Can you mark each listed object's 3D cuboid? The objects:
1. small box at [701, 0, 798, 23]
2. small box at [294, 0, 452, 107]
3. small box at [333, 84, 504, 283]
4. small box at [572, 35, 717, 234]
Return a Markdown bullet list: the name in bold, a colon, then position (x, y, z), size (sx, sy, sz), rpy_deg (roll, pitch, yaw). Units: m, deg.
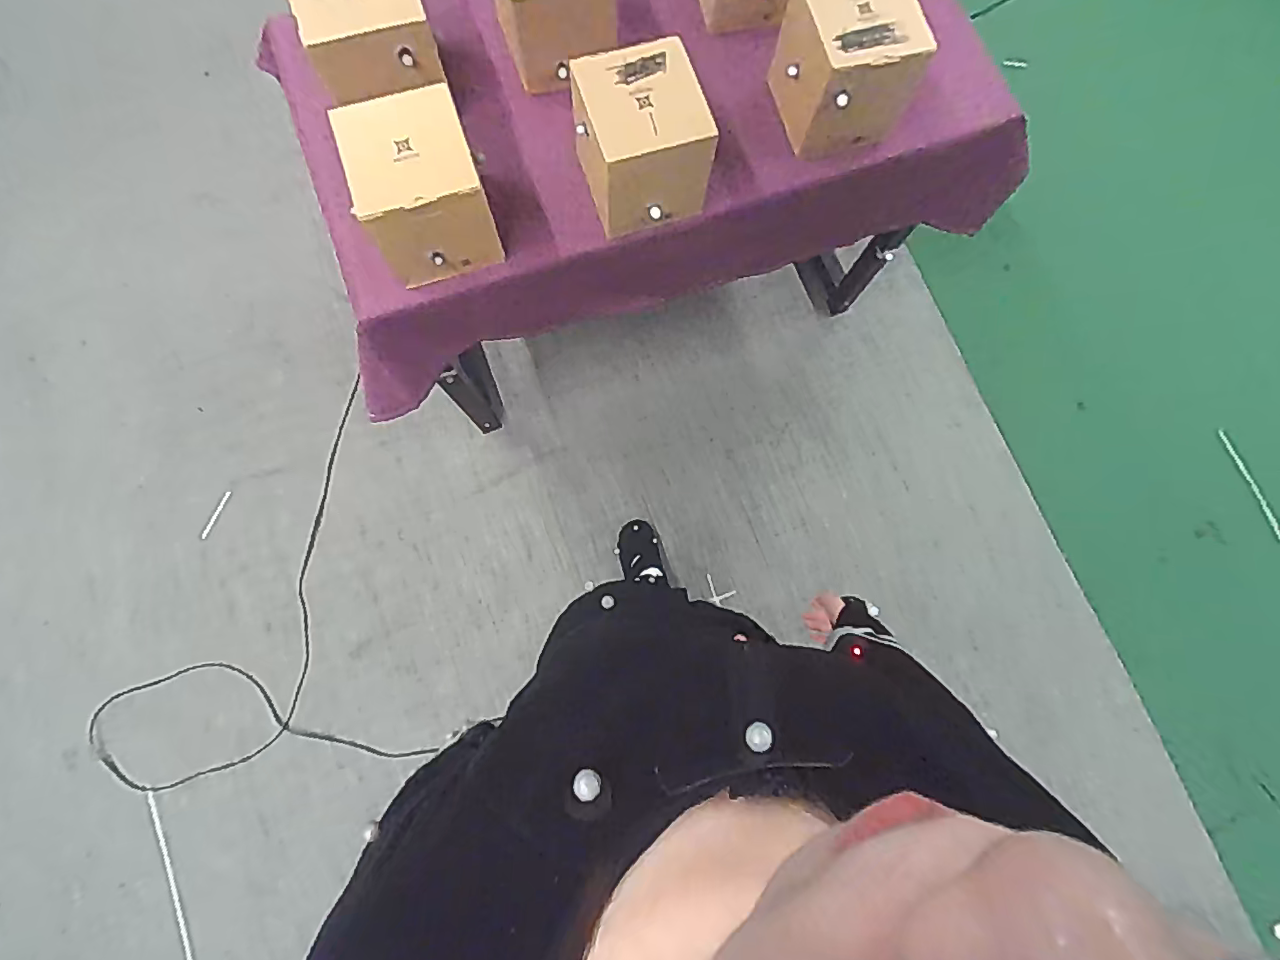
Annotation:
- **small box**: position (0.189, -0.917, 0.910), size (0.168, 0.176, 0.179), rpy_deg (-13, 81, -5)
- **small box**: position (-0.408, -0.683, 0.848), size (0.179, 0.176, 0.168), rpy_deg (-18, 80, -5)
- **small box**: position (-0.317, -0.430, 0.804), size (0.168, 0.176, 0.179), rpy_deg (-19, 81, -6)
- **small box**: position (0.002, -0.518, 0.829), size (0.168, 0.176, 0.179), rpy_deg (-18, 80, -5)
